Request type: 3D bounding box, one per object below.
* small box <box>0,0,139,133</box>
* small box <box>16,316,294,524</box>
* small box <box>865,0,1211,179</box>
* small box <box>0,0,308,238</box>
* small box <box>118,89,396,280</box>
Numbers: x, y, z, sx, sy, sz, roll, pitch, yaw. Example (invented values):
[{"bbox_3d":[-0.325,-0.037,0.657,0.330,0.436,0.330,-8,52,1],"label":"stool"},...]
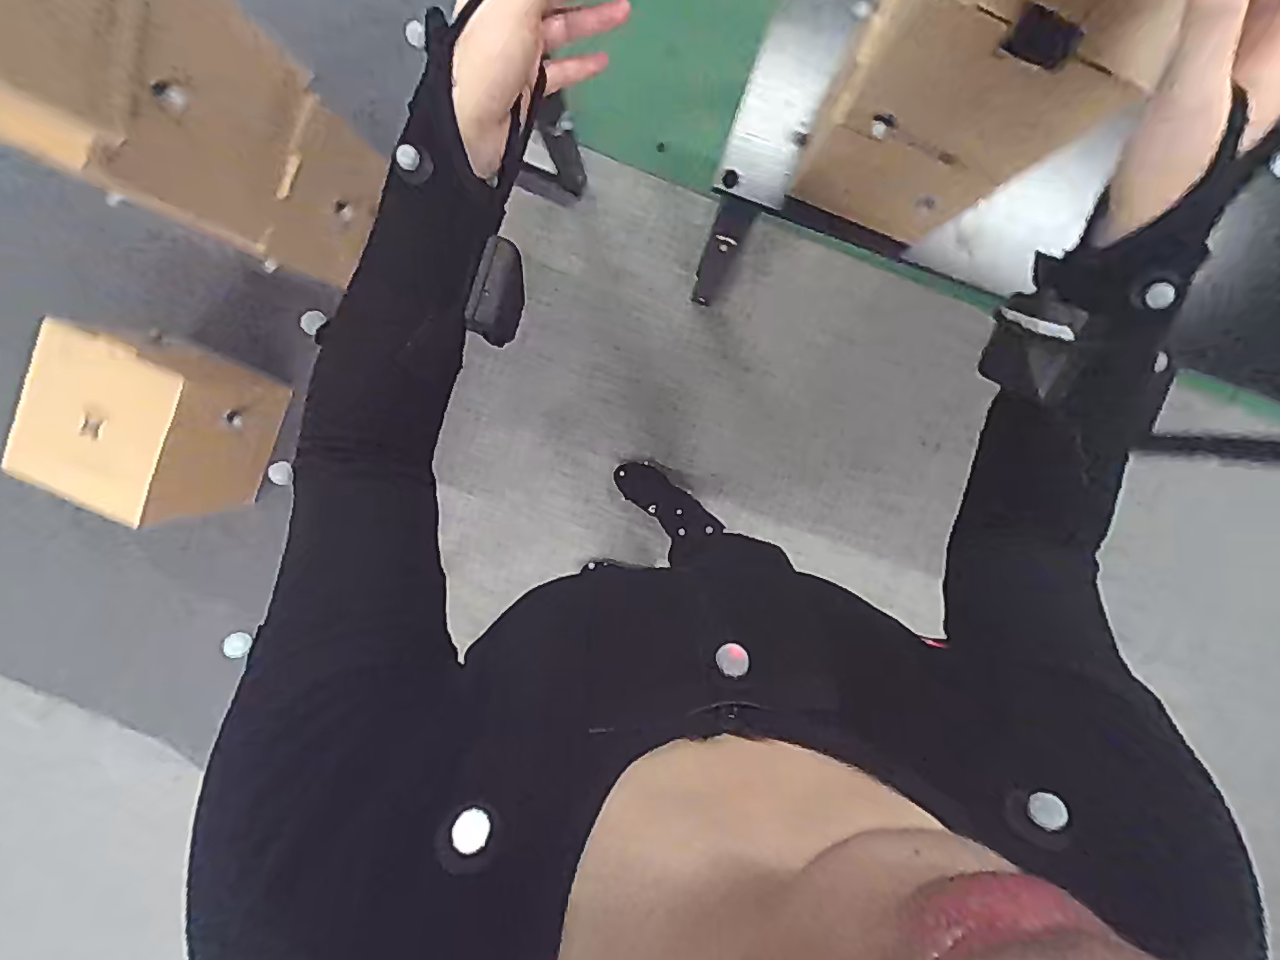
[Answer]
[{"bbox_3d":[-0.416,-0.319,0.284,0.179,0.176,0.168,14,98,2],"label":"small box"},{"bbox_3d":[-0.564,-0.072,0.654,0.168,0.176,0.179,24,98,1],"label":"small box"},{"bbox_3d":[0.303,-0.374,0.420,0.168,0.176,0.179,23,97,-3],"label":"small box"},{"bbox_3d":[-0.418,-0.336,0.449,0.168,0.176,0.179,22,99,0],"label":"small box"},{"bbox_3d":[-0.413,-0.346,0.612,0.179,0.176,0.168,24,98,-1],"label":"small box"}]
